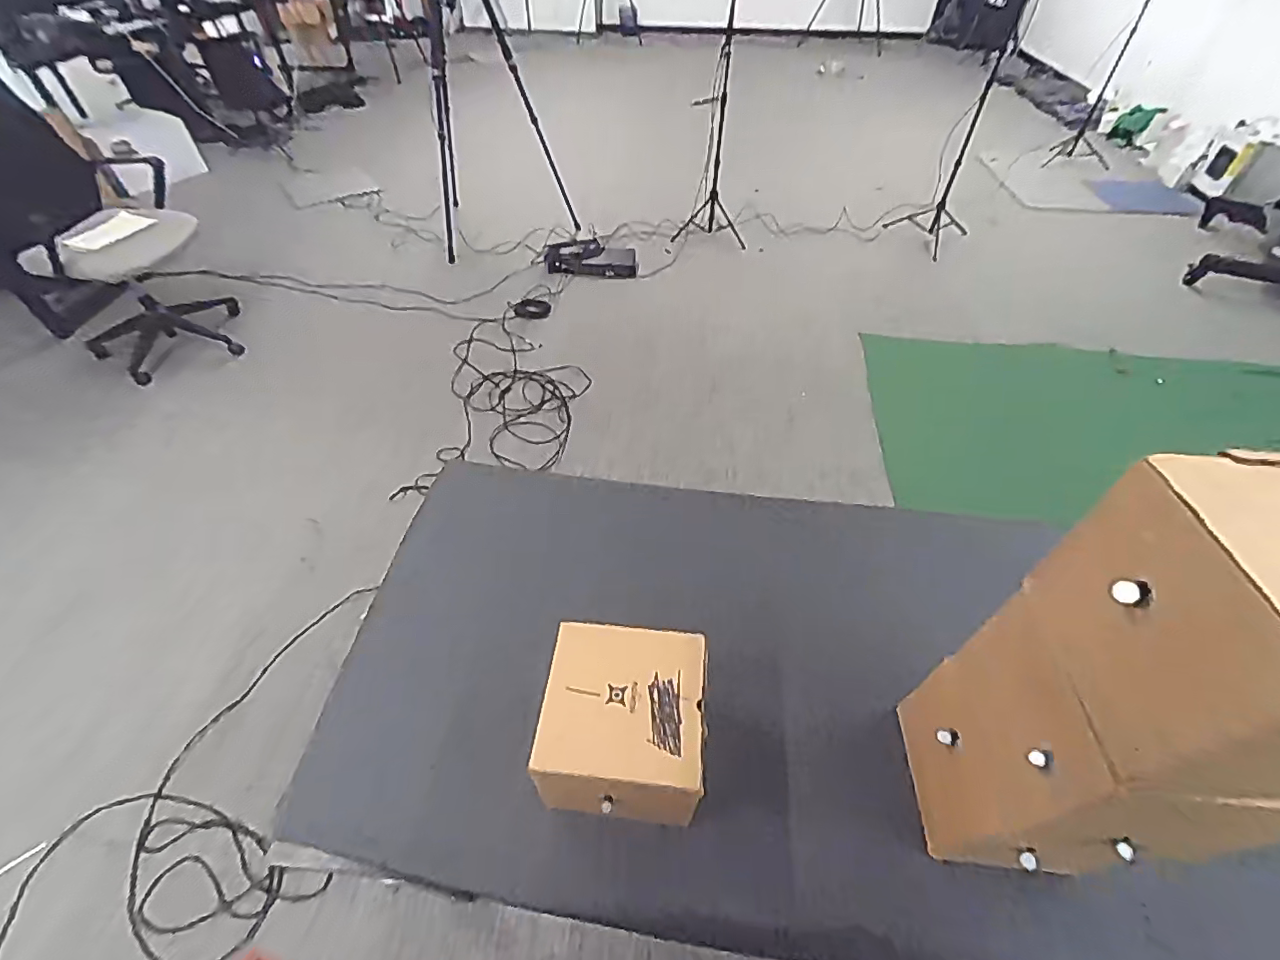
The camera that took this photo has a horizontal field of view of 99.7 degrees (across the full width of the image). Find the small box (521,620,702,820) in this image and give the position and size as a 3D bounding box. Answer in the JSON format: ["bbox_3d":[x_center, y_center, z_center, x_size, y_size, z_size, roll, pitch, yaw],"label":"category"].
[{"bbox_3d":[-0.024,0.287,0.640,0.179,0.176,0.168,4,48,4],"label":"small box"}]

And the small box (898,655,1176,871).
[{"bbox_3d":[0.419,0.323,0.613,0.168,0.176,0.179,4,47,3],"label":"small box"}]

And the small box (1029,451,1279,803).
[{"bbox_3d":[0.419,0.101,0.371,0.168,0.176,0.179,2,47,2],"label":"small box"}]
